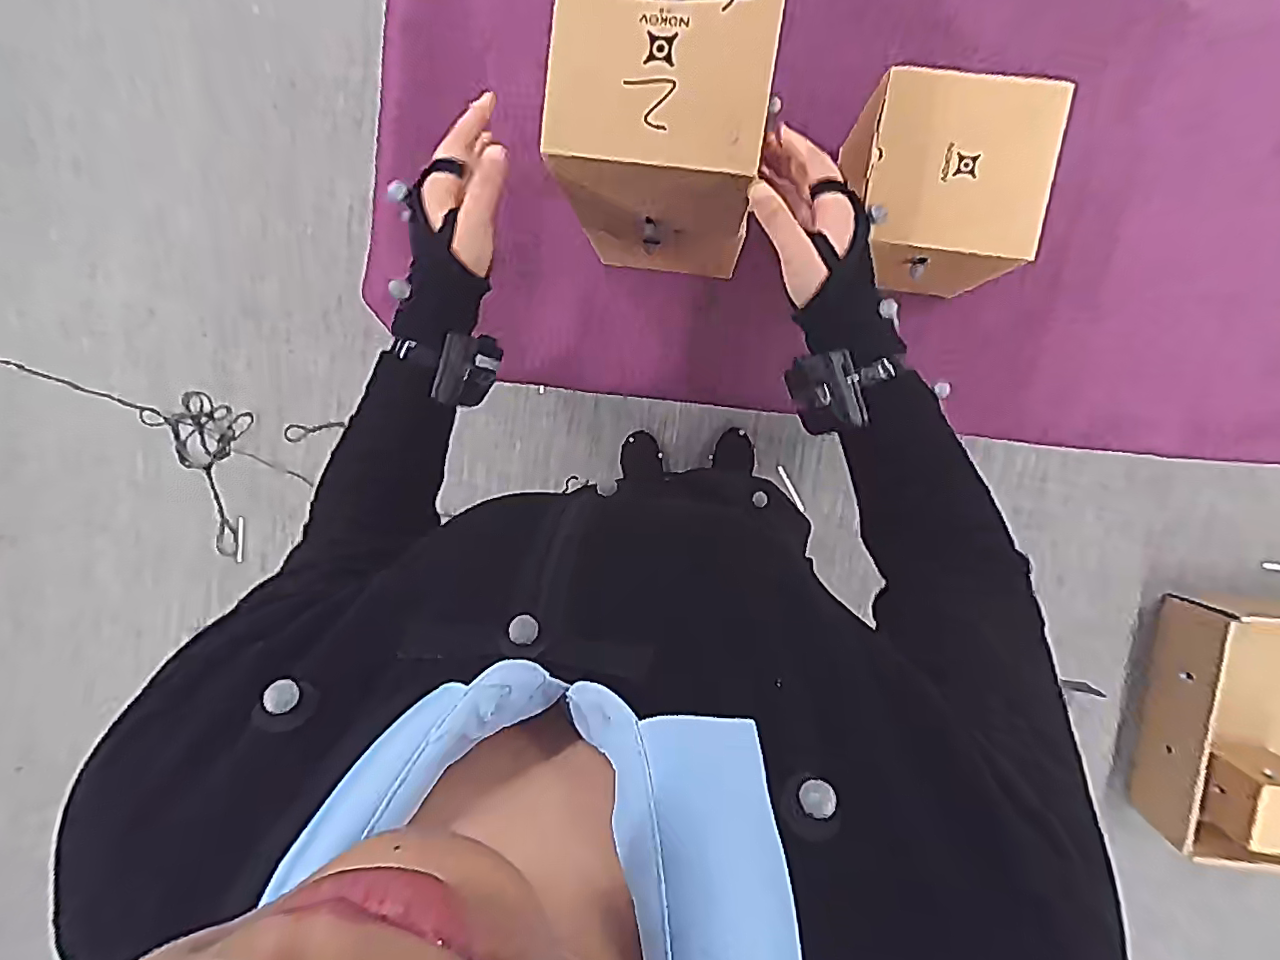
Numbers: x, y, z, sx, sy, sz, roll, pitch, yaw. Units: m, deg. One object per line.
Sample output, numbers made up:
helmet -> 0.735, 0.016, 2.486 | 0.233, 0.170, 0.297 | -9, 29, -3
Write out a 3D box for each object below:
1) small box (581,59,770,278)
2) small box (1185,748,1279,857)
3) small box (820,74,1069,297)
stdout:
small box -> 0.040, -0.347, 0.634 | 0.179, 0.176, 0.168 | 8, 97, 3
small box -> 1.498, 0.780, 1.314 | 0.179, 0.176, 0.168 | 5, 97, 4
small box -> 0.323, -0.315, 0.614 | 0.179, 0.176, 0.168 | 9, 97, 5
